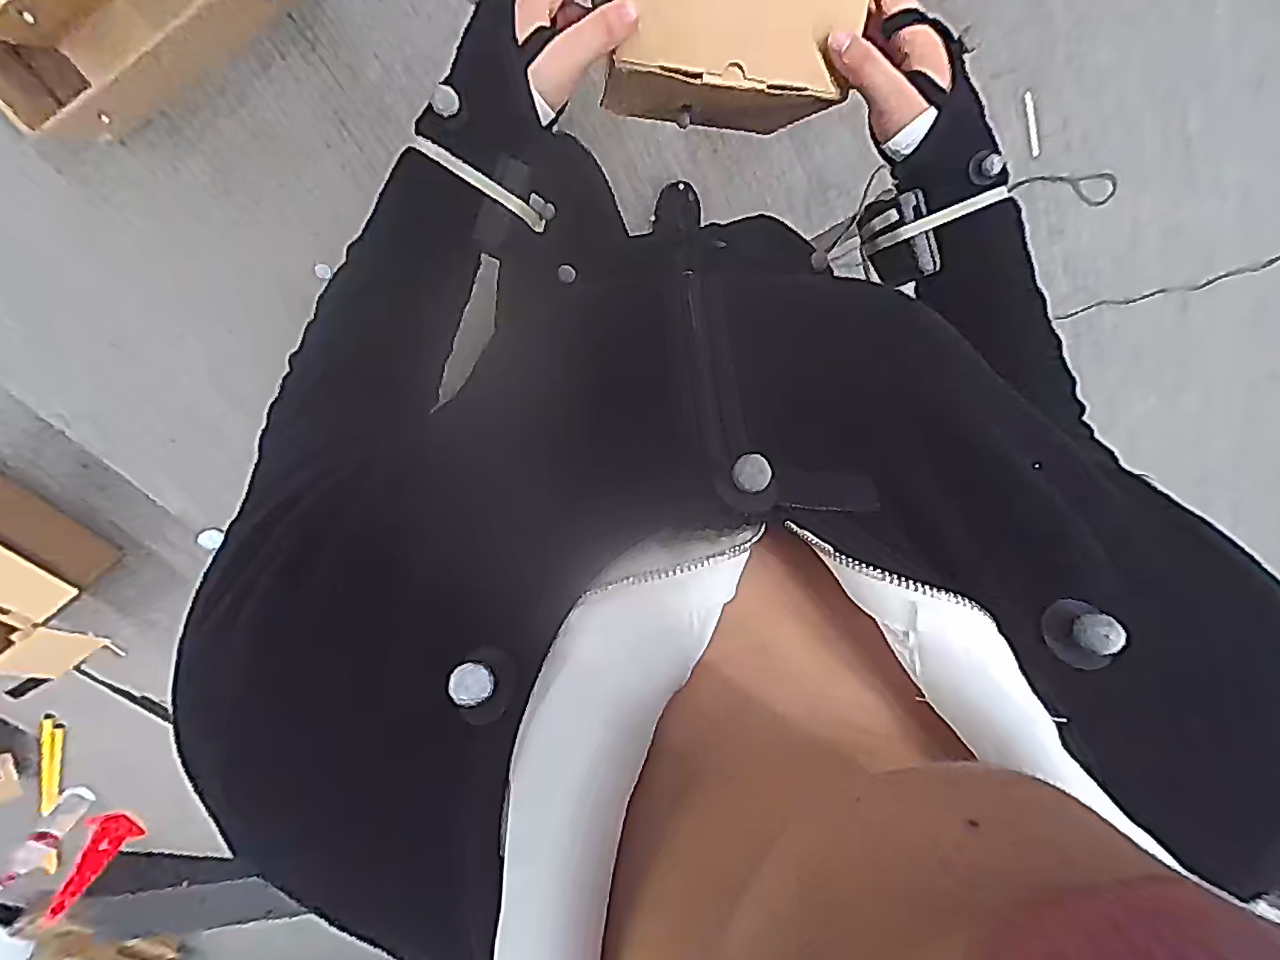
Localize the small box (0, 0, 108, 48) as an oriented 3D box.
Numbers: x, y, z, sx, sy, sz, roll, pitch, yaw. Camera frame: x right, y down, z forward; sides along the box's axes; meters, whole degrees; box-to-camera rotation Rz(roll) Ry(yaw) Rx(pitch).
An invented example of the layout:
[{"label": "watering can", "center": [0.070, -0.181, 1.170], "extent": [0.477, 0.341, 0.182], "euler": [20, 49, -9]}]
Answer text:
[{"label": "small box", "center": [-1.081, -0.876, 0.914], "extent": [0.179, 0.176, 0.168], "euler": [-27, 121, 10]}]
